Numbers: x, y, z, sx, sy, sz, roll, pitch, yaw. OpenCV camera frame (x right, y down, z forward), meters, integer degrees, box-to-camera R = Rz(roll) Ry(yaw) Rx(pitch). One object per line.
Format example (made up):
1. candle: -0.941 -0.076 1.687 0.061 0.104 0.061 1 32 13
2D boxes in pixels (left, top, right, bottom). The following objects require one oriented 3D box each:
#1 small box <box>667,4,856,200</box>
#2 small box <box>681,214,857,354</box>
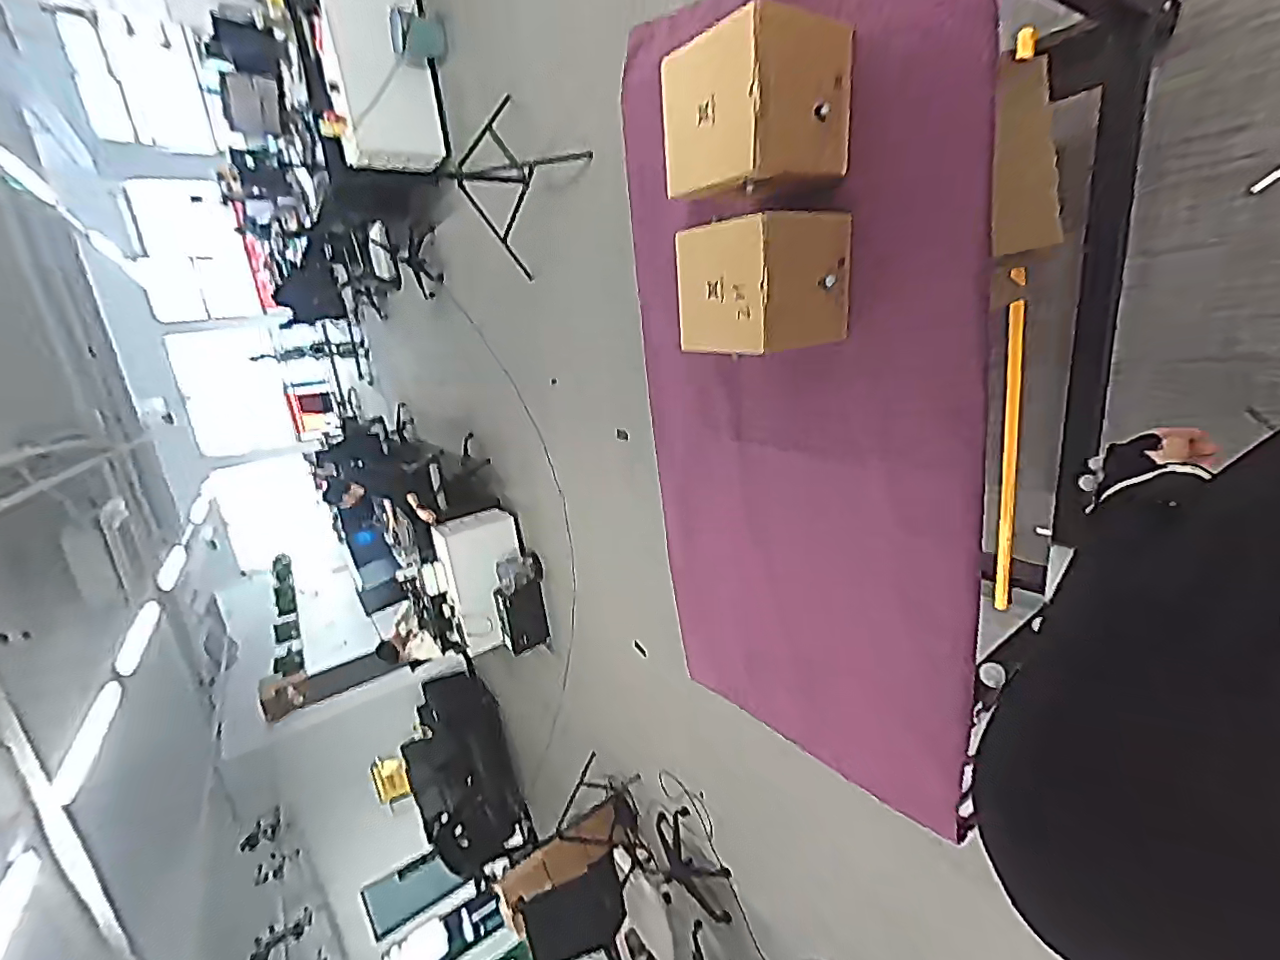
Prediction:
1. small box: 0.156 -0.478 0.717 0.179 0.176 0.168 22 123 54
2. small box: 0.179 -0.276 0.774 0.179 0.176 0.168 22 122 54
